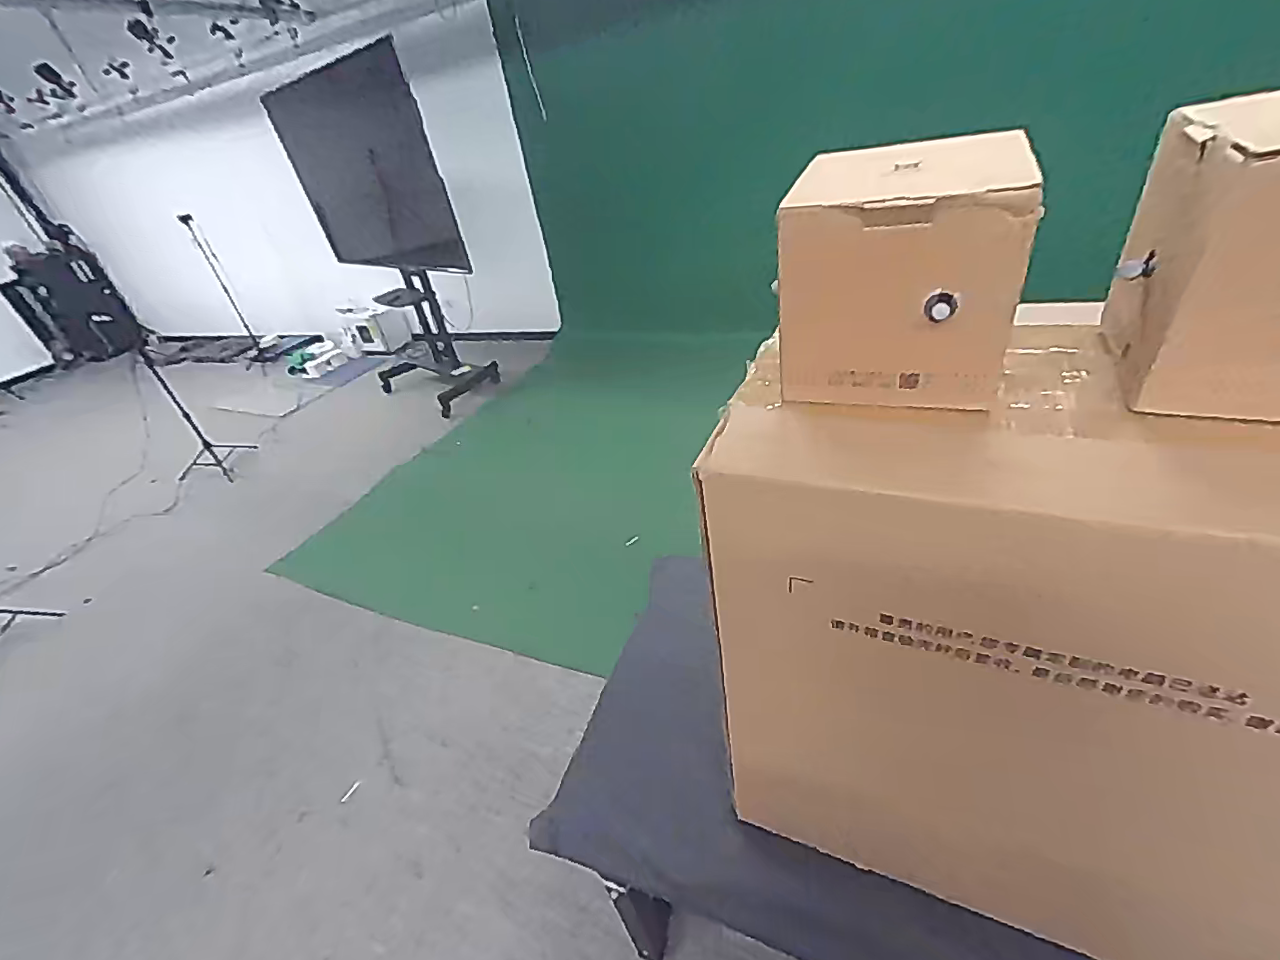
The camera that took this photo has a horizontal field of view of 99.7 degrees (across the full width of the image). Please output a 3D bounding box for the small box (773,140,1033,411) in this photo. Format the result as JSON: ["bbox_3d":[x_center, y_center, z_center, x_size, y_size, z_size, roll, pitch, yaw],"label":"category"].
[{"bbox_3d":[0.219,-0.176,0.474,0.168,0.176,0.179,9,41,24],"label":"small box"}]

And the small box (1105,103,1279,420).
[{"bbox_3d":[0.450,-0.146,0.365,0.179,0.176,0.168,8,42,26],"label":"small box"}]
